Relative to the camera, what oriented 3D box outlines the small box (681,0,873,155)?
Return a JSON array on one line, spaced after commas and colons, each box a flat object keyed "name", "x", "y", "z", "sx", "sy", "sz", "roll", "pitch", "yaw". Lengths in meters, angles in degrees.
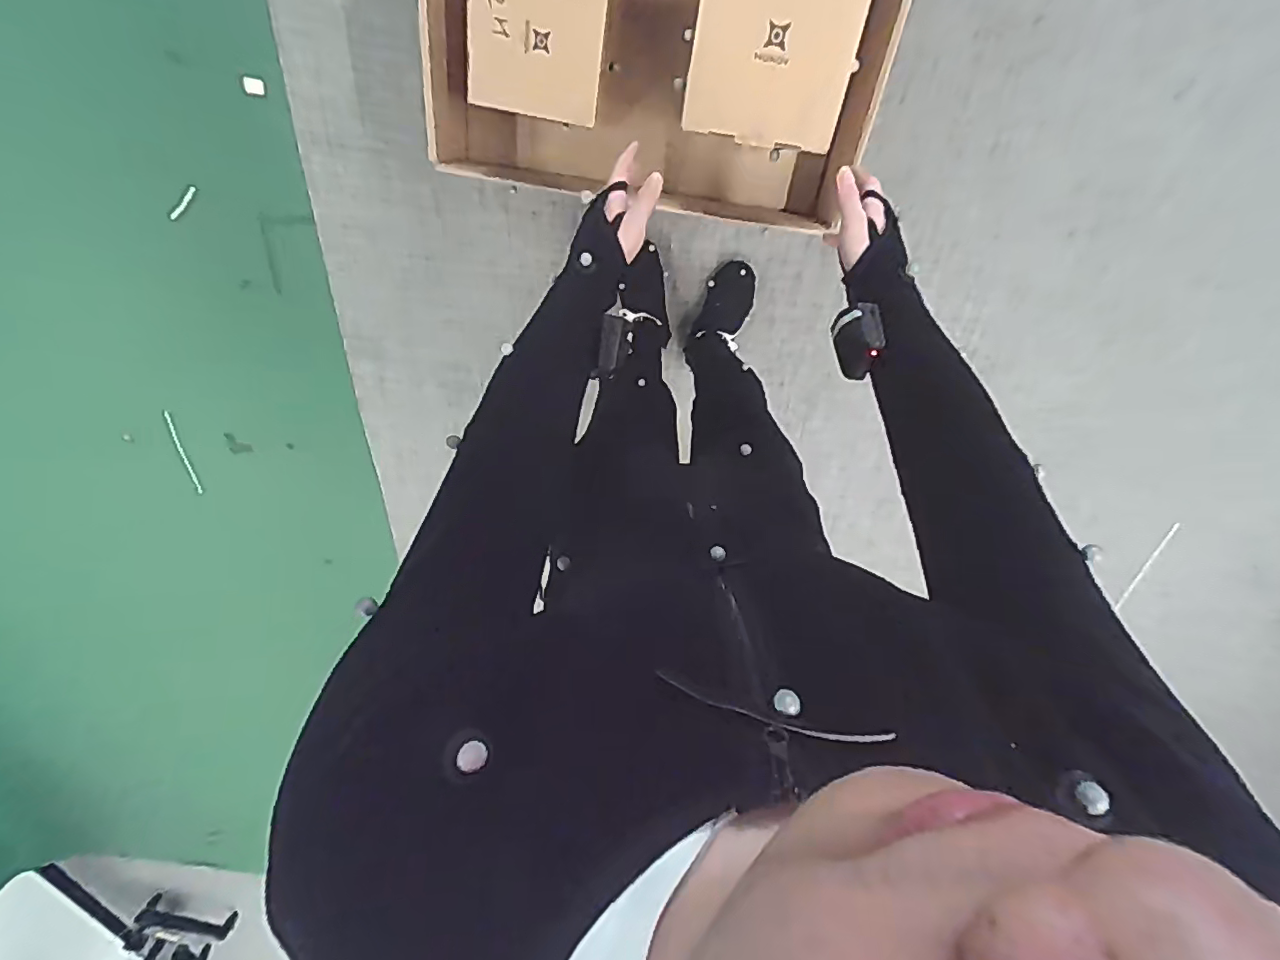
[{"name": "small box", "x": 0.143, "y": -0.481, "z": 0.605, "sx": 0.168, "sy": 0.176, "sz": 0.179, "roll": 9, "pitch": 123, "yaw": -1}]
